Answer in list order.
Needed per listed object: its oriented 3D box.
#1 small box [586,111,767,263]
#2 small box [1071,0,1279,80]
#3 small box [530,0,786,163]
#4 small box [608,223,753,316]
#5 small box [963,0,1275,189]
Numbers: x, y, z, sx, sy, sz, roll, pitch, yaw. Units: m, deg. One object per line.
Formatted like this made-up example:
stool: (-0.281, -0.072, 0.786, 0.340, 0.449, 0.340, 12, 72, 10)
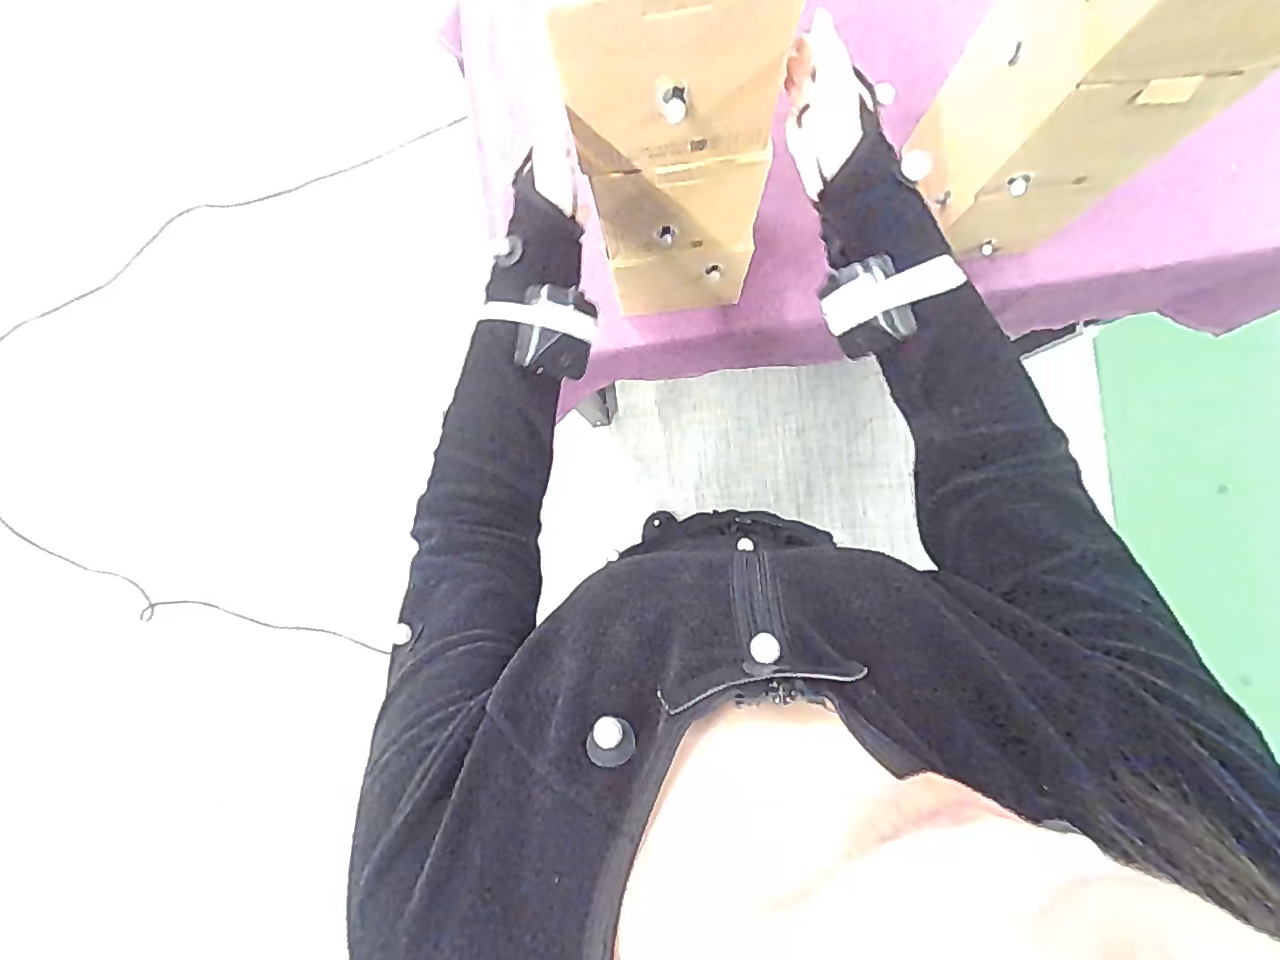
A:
small box: (0.032, -0.357, 0.571, 0.168, 0.176, 0.179, -5, 86, 4)
small box: (0.441, -0.420, 0.377, 0.179, 0.176, 0.168, -1, 88, 4)
small box: (0.011, -0.370, 0.408, 0.168, 0.176, 0.179, -7, 87, 3)
small box: (0.047, -0.337, 0.732, 0.179, 0.176, 0.168, -5, 85, 4)
small box: (0.451, -0.416, 0.540, 0.168, 0.176, 0.179, -3, 86, 4)
